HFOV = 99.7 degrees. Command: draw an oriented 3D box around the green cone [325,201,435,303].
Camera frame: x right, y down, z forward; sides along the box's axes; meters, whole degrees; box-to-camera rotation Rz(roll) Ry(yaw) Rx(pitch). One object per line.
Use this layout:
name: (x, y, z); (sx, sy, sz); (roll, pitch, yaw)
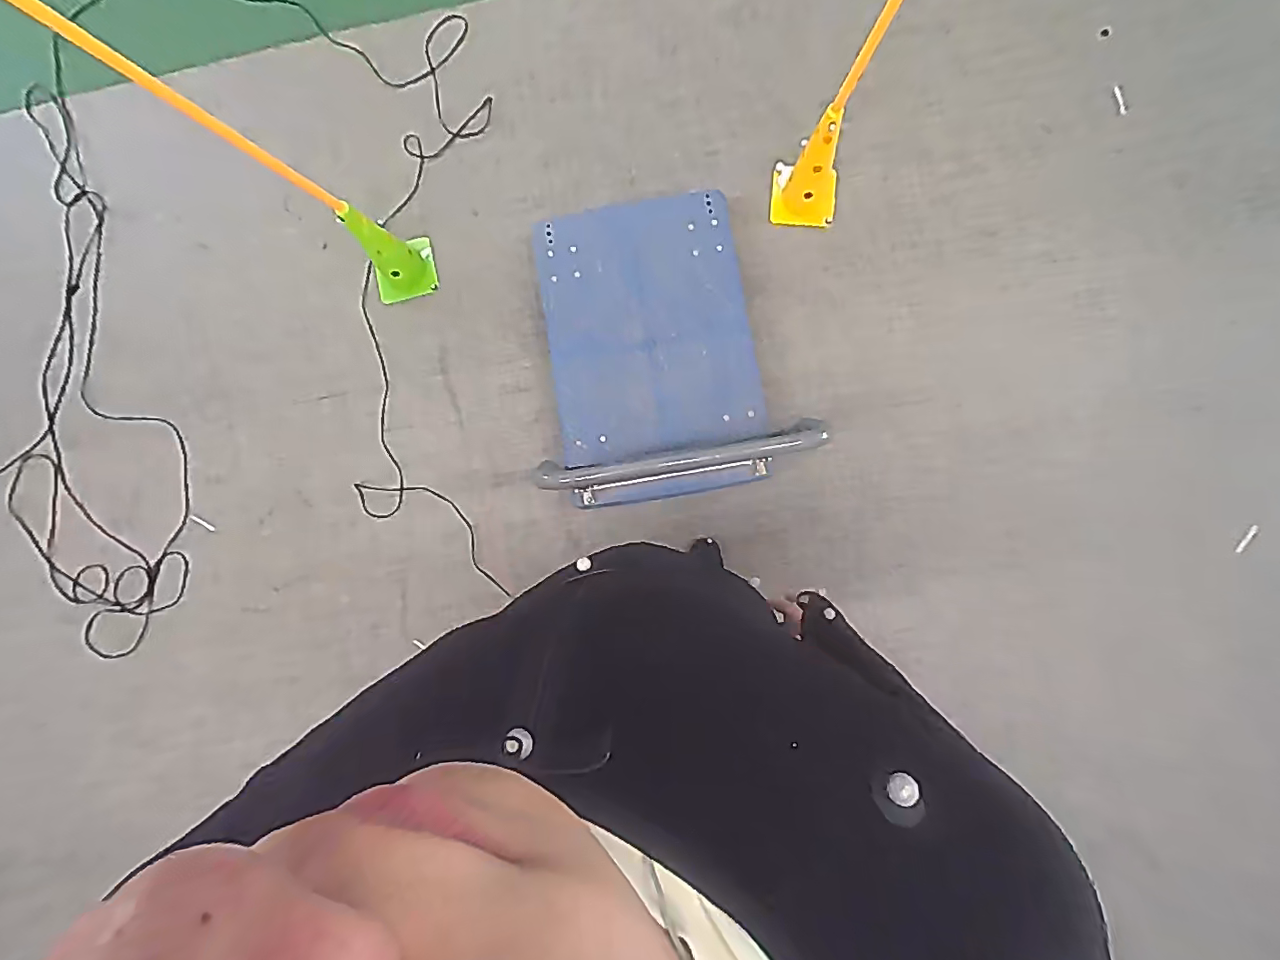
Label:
green cone: (-0.806, -0.718, 1.625); (0.202, 0.368, 0.200); (-15, 83, 4)
